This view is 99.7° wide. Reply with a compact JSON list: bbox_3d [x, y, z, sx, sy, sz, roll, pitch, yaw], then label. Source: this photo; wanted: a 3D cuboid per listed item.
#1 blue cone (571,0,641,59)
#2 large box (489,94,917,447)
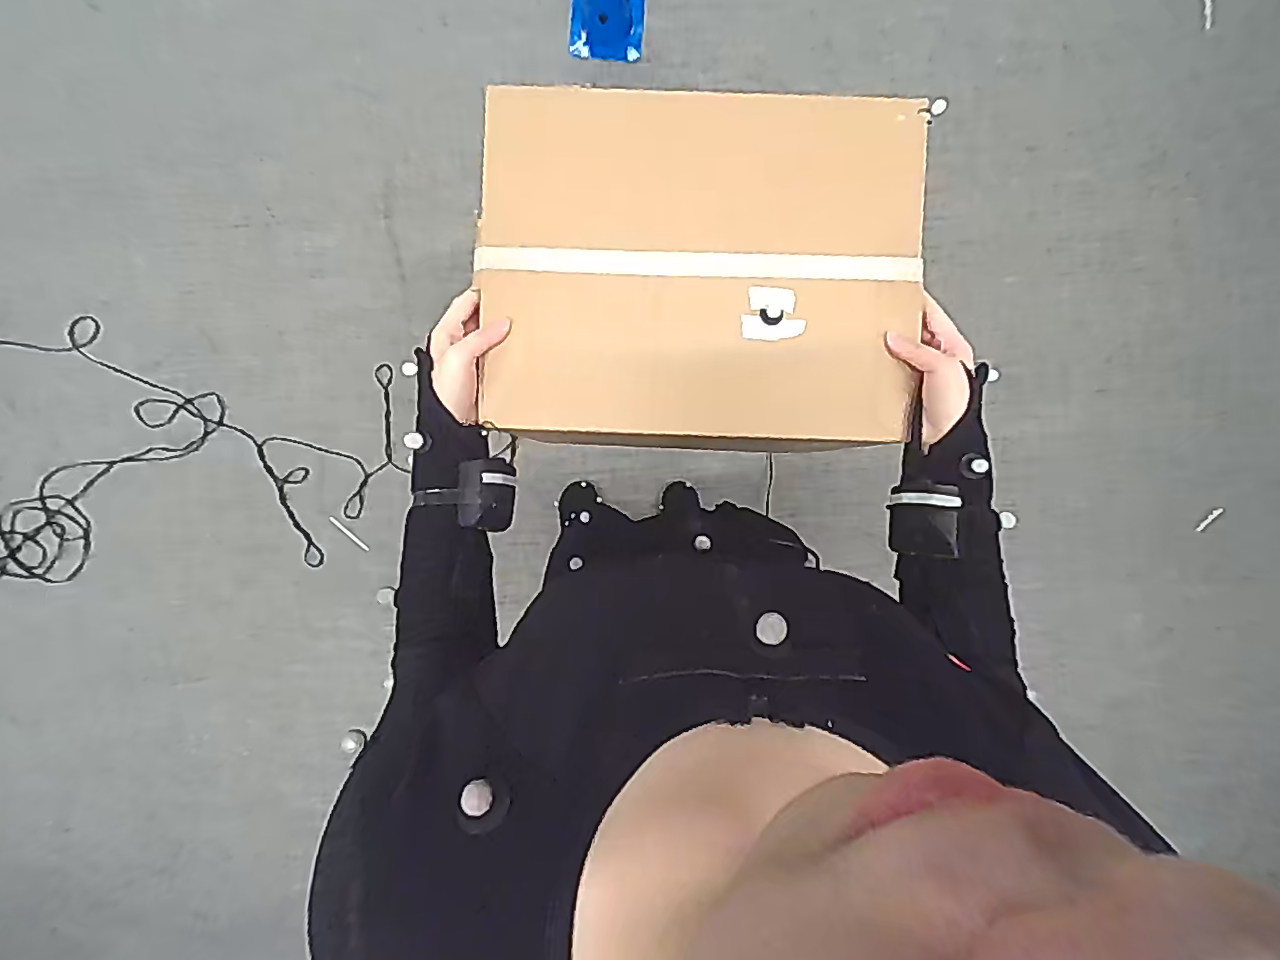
[{"bbox_3d":[-0.094,-1.267,1.336,0.193,0.380,0.192,6,90,0],"label":"blue cone"},{"bbox_3d":[0.055,-0.203,0.653,0.408,0.320,0.320,2,92,-1],"label":"large box"}]
